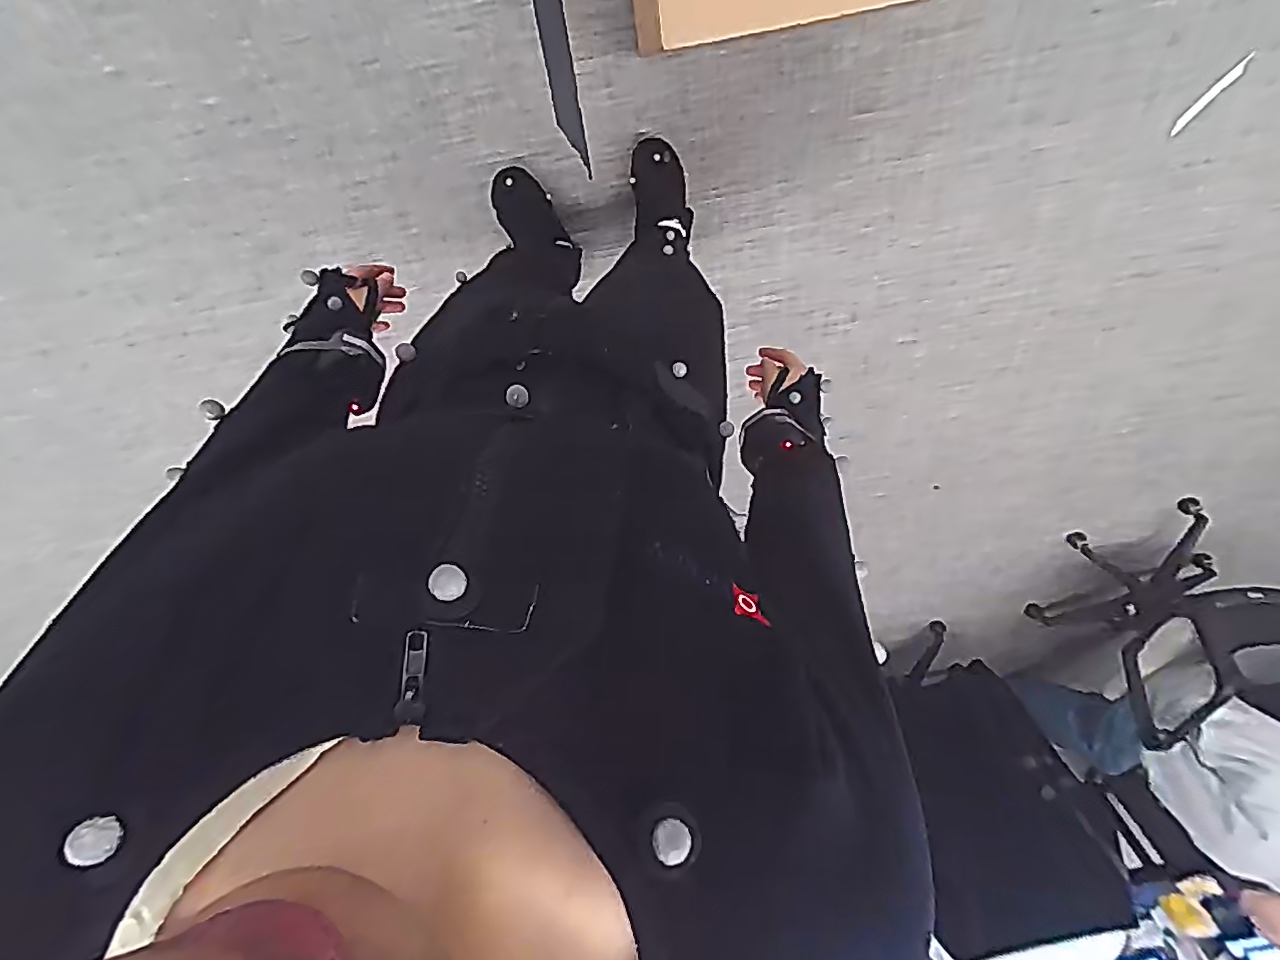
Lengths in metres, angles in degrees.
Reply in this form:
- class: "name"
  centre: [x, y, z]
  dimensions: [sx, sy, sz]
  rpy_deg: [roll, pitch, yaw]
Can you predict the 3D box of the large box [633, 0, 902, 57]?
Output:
- class: "large box"
  centre: [0.184, -0.847, 0.778]
  dimensions: [0.408, 0.320, 0.320]
  rpy_deg: [-11, 128, 0]
